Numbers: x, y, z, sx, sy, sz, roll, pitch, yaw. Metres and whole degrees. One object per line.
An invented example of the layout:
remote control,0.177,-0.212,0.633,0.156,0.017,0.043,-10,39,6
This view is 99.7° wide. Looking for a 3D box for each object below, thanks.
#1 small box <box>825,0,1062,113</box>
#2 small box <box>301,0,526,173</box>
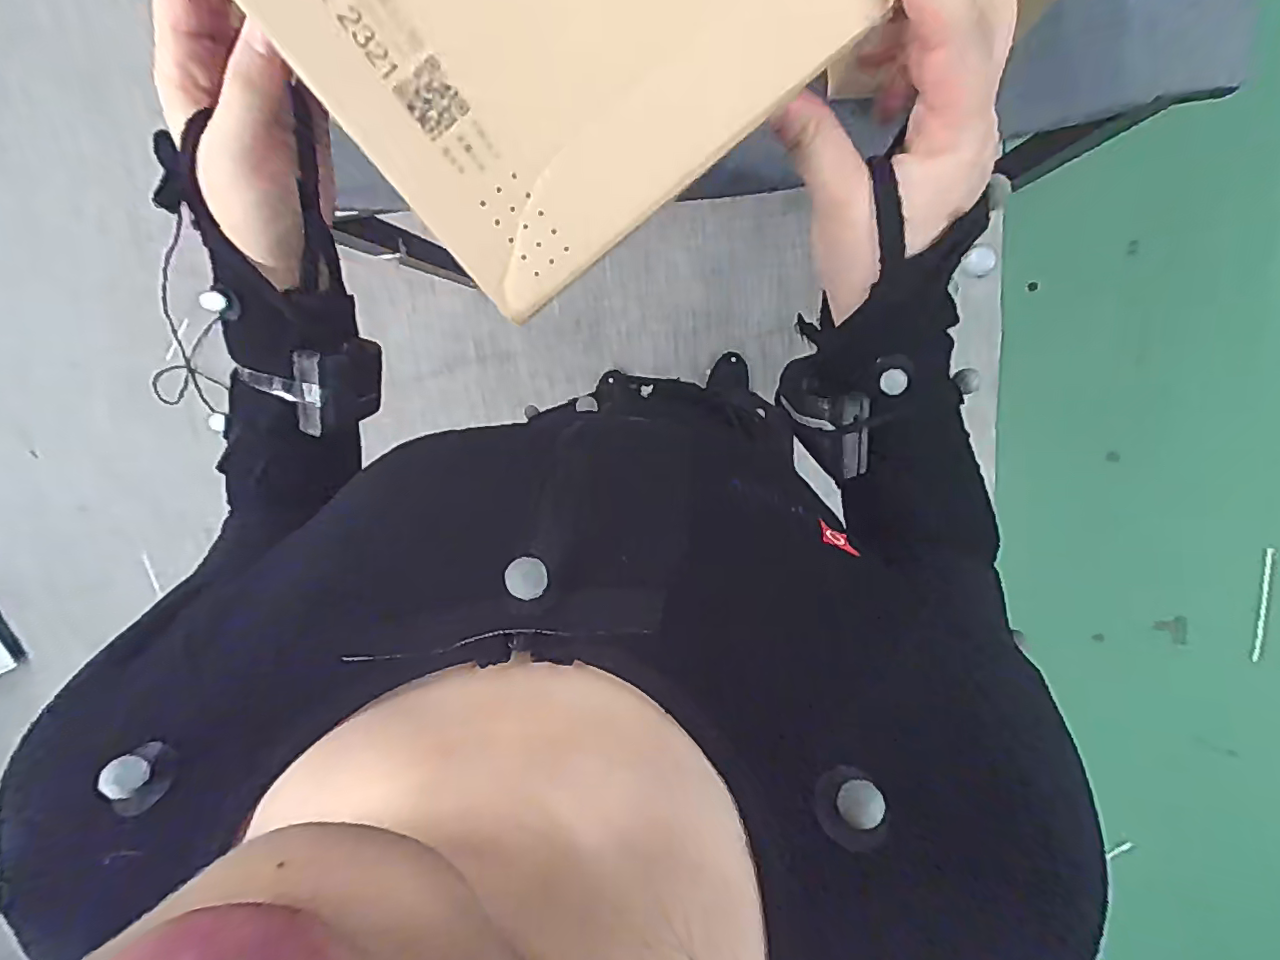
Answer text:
small box,0.284,-0.503,0.531,0.168,0.176,0.179,-3,100,7
small box,-0.232,-0.458,0.593,0.179,0.176,0.168,-1,101,6
